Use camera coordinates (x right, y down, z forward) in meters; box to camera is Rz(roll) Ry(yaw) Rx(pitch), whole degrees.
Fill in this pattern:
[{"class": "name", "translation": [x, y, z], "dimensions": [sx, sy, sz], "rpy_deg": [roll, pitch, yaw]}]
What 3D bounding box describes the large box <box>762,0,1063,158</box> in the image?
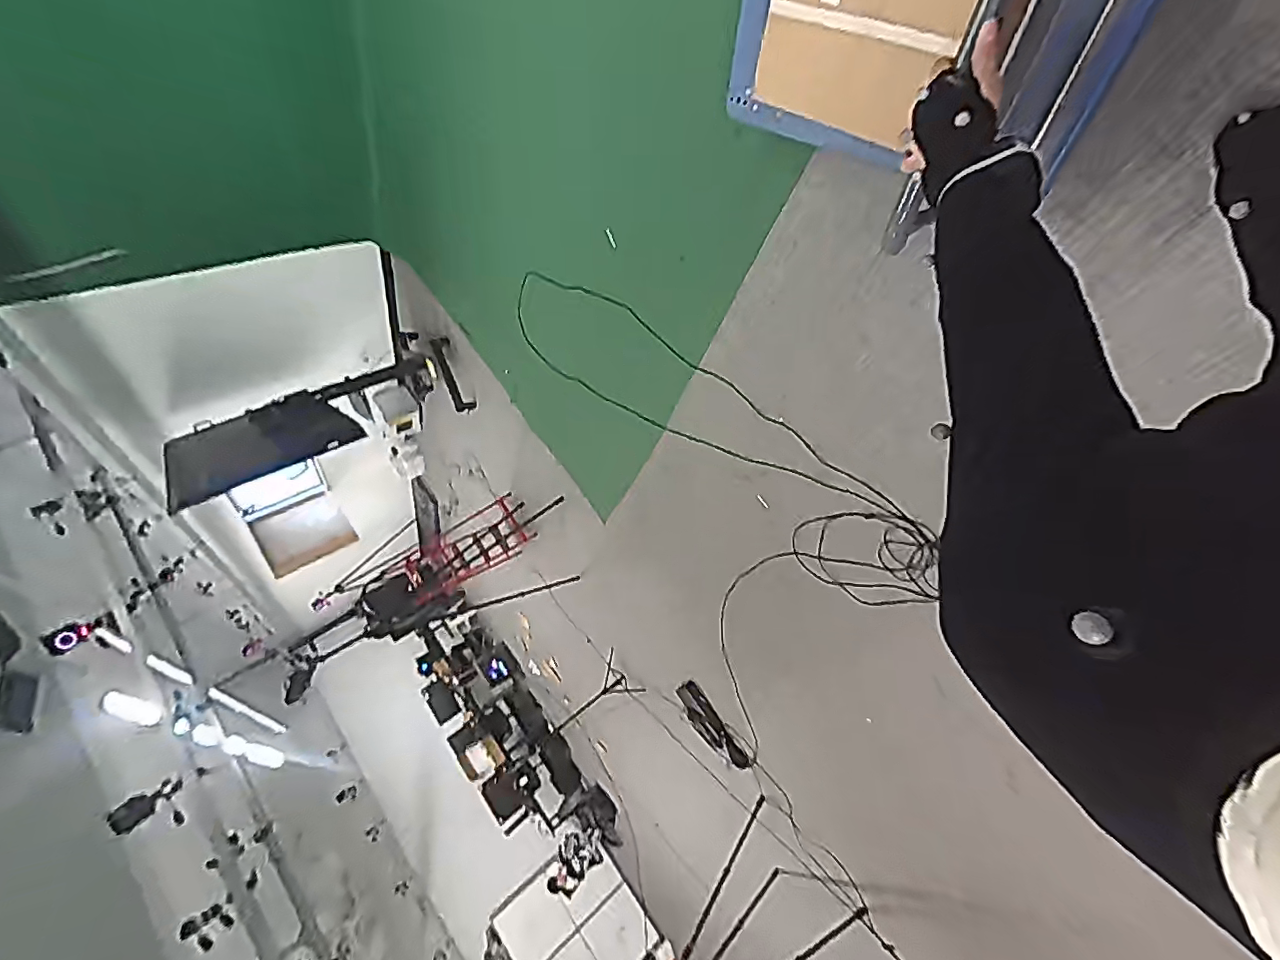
[{"class": "large box", "translation": [0.521, -0.872, 1.049], "dimensions": [0.408, 0.320, 0.320], "rpy_deg": [43, 144, 28]}]
